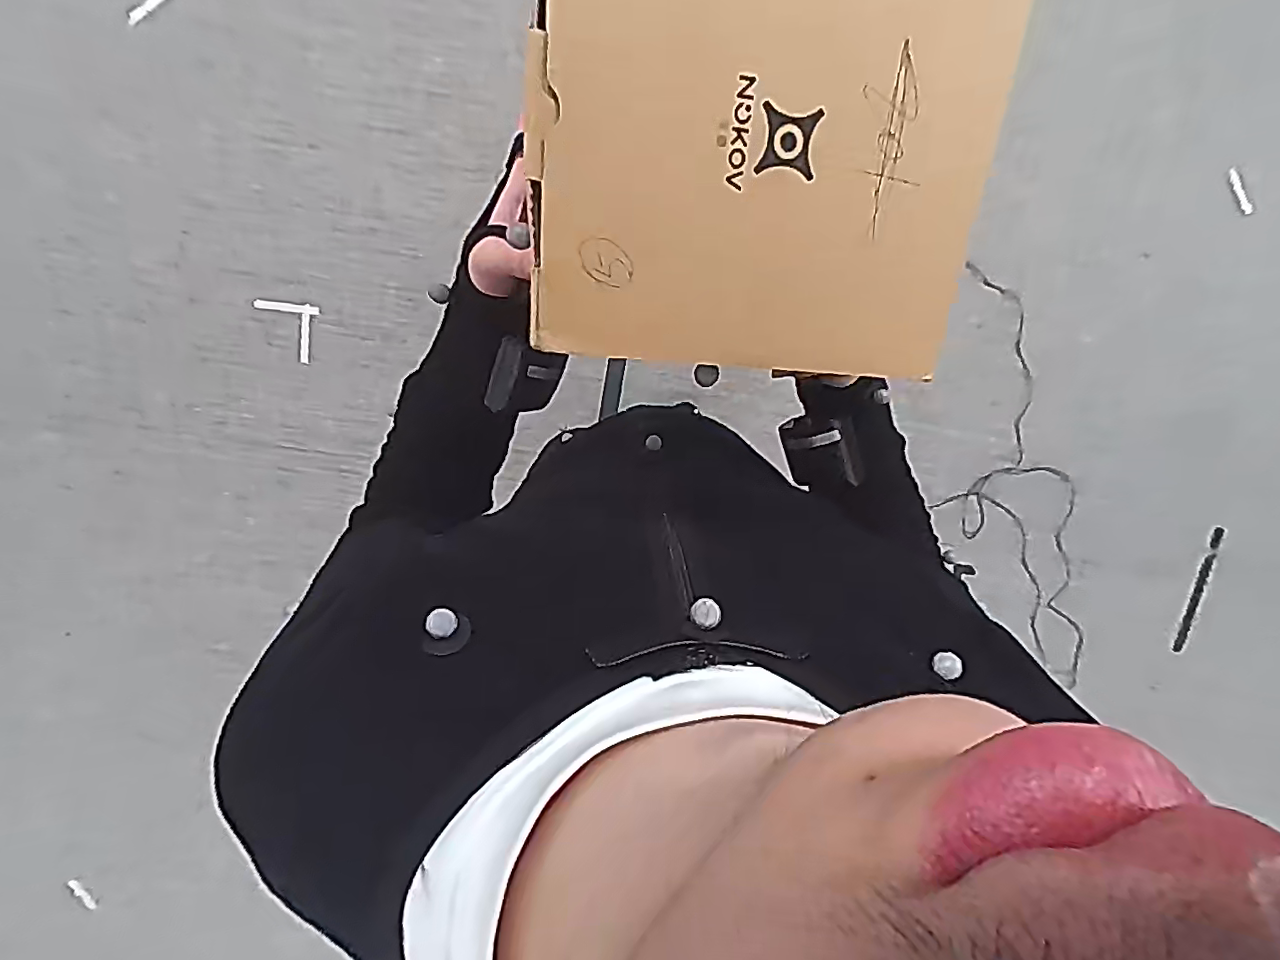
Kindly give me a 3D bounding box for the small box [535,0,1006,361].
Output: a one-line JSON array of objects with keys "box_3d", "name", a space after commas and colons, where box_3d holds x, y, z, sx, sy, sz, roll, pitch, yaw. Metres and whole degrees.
[{"box_3d": [0.038, -0.160, 0.284, 0.179, 0.176, 0.168, 1, 110, -10], "name": "small box"}]
